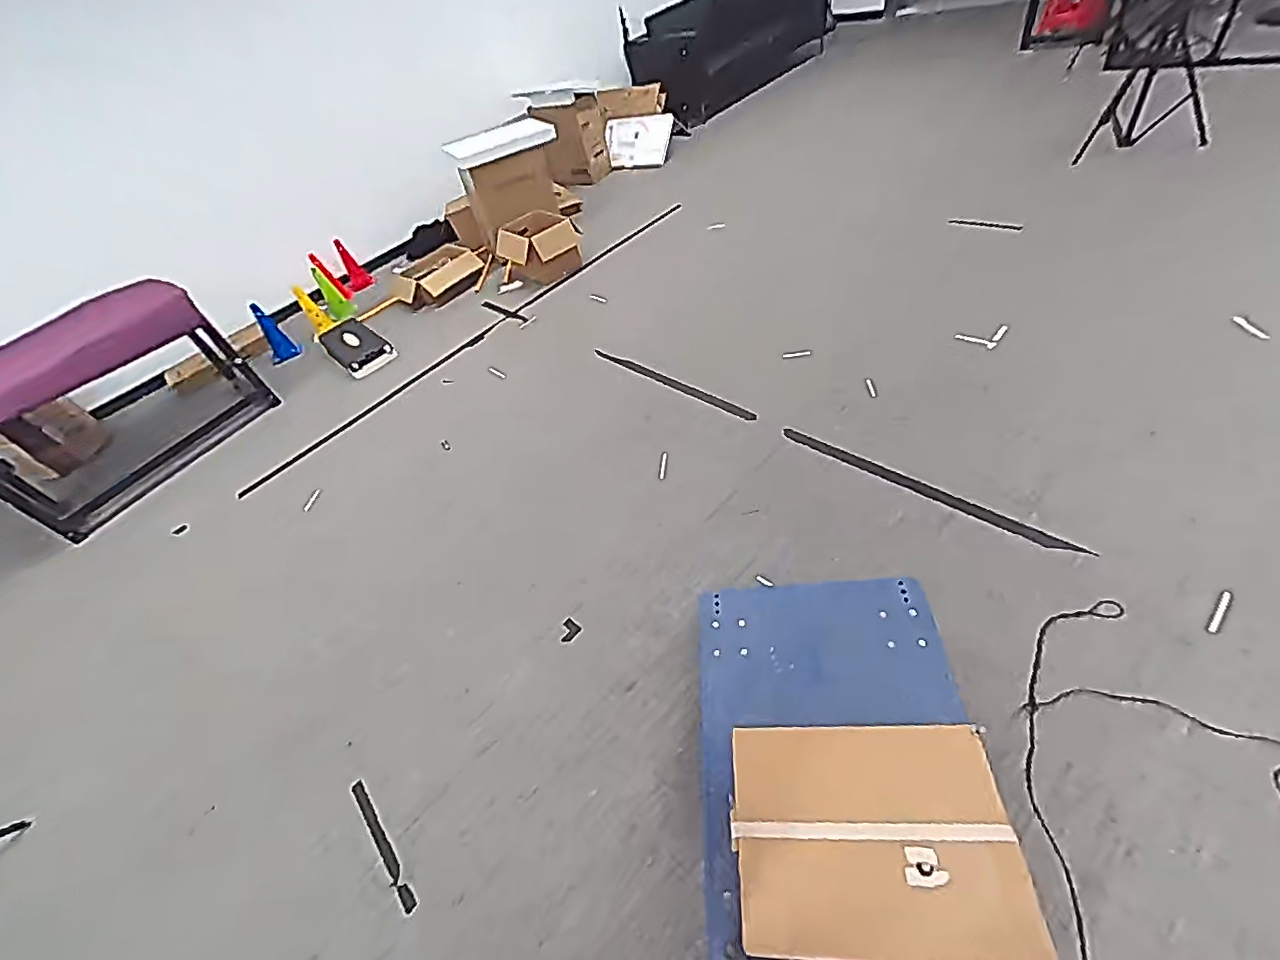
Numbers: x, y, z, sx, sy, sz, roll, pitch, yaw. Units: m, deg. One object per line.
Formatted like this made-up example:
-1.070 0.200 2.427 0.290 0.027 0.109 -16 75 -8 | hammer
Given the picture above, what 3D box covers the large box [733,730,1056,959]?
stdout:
0.383 0.651 0.938 0.408 0.320 0.320 -6 47 10 | large box
